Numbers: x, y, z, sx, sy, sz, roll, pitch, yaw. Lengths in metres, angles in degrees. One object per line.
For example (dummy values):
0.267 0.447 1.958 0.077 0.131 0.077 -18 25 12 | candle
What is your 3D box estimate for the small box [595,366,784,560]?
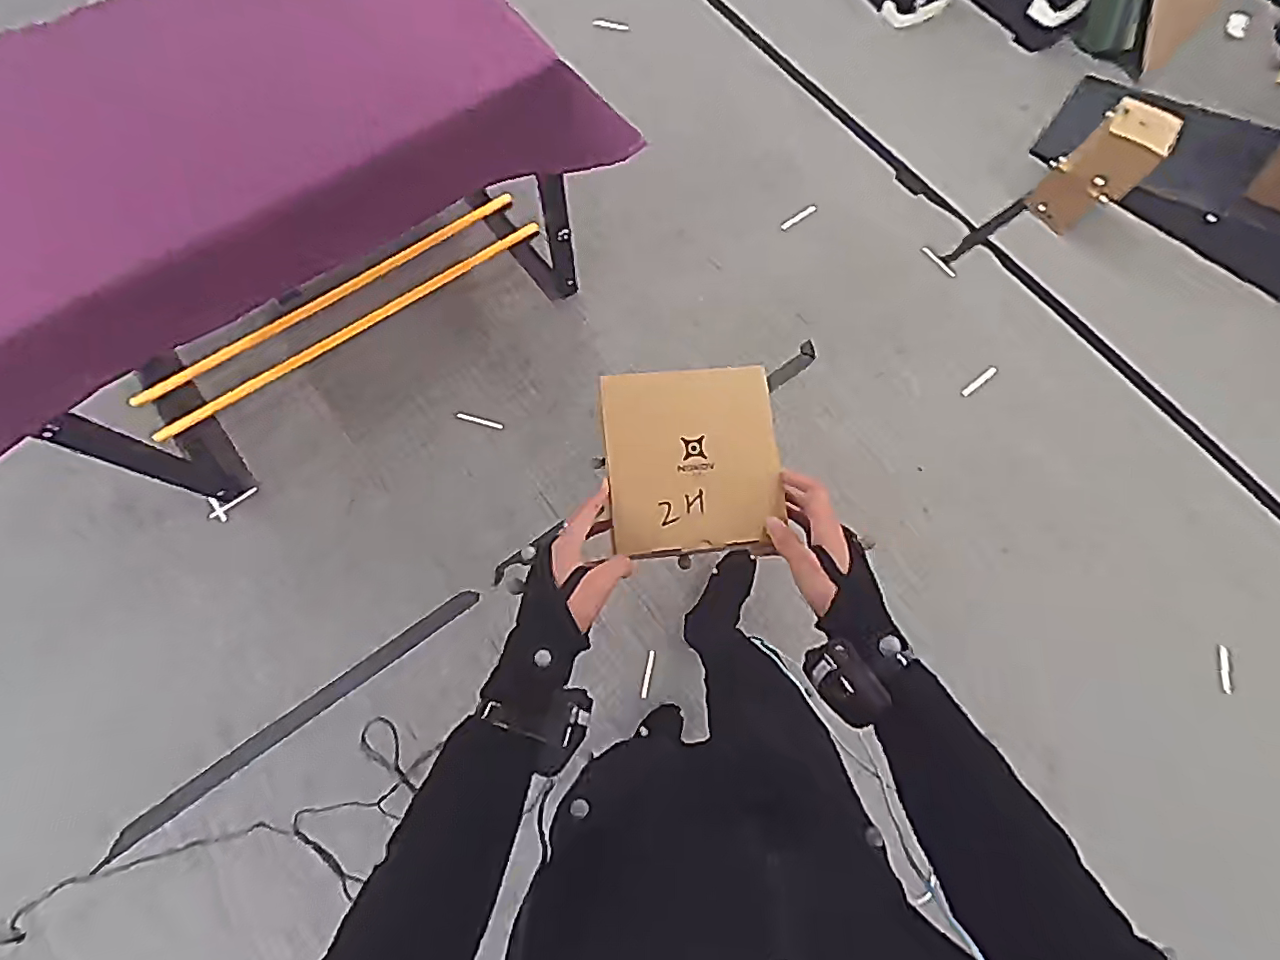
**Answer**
0.040 -0.009 0.594 0.168 0.176 0.179 -5 81 -6 | small box
